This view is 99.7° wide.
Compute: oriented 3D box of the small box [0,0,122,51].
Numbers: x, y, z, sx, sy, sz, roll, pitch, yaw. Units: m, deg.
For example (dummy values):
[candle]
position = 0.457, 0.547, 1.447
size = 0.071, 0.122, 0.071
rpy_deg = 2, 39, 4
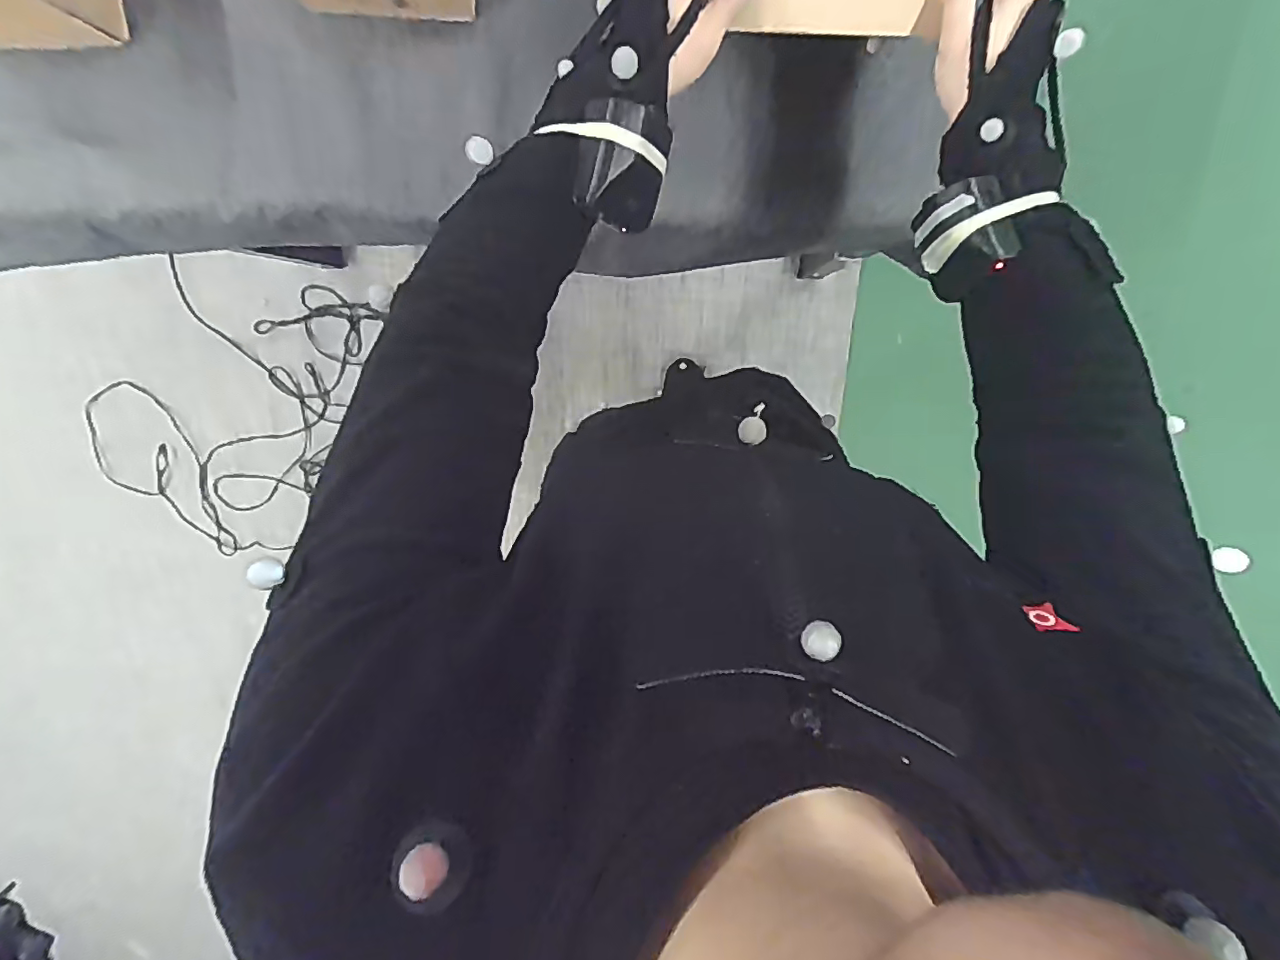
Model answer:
[small box]
position = -0.604, -0.492, 0.448
size = 0.179, 0.176, 0.168
rpy_deg = 0, 105, 4
